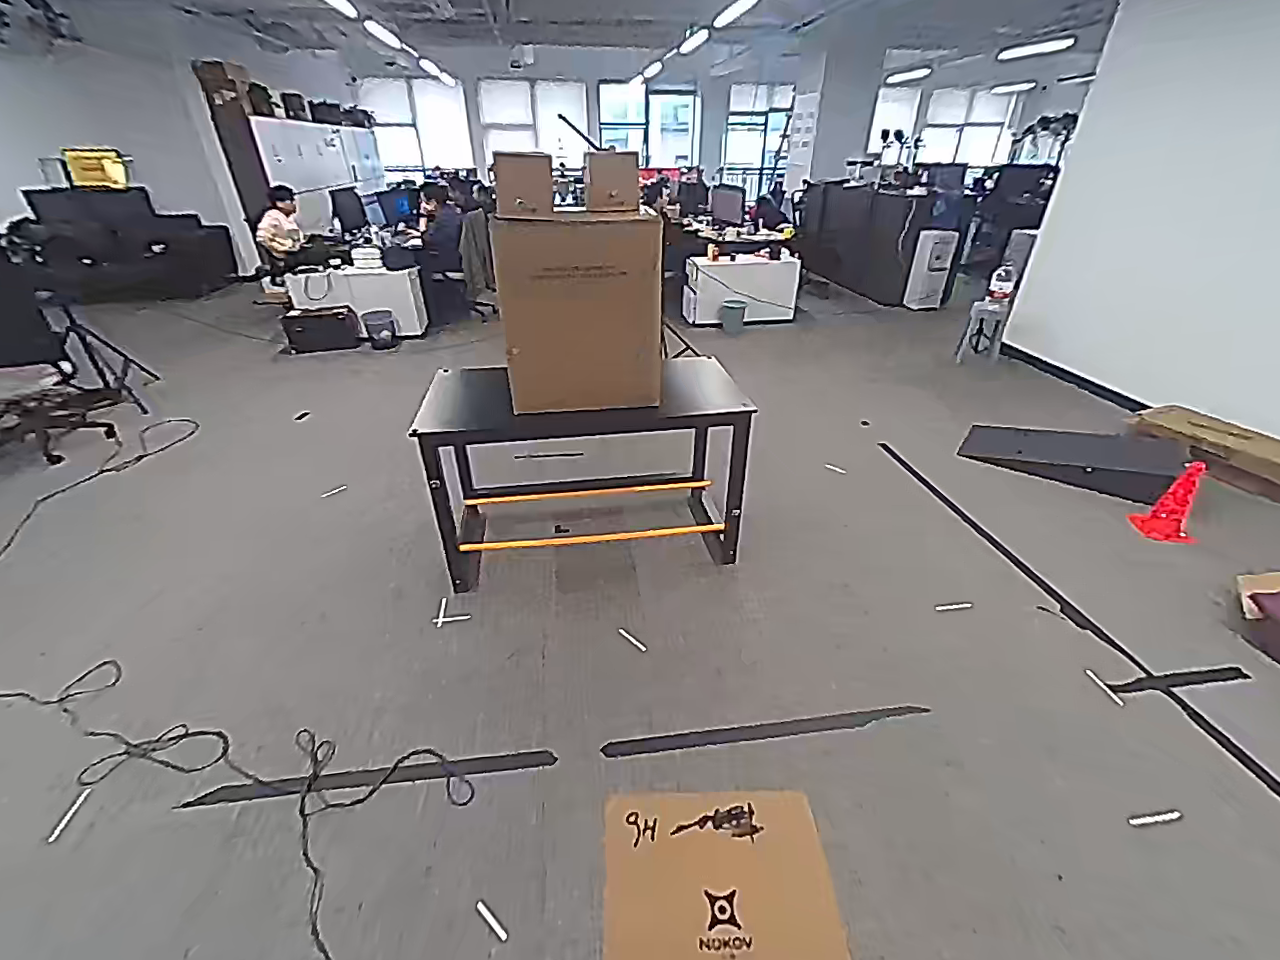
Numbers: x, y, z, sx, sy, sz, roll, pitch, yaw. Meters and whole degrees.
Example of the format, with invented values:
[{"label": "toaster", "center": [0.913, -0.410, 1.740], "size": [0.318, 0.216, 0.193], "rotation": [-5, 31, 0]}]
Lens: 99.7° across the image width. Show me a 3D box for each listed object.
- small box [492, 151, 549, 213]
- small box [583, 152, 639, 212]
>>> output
[{"label": "small box", "center": [-0.392, -0.984, 1.786], "size": [0.168, 0.176, 0.179], "rotation": [-5, 30, -9]}, {"label": "small box", "center": [-0.098, -0.991, 1.796], "size": [0.168, 0.176, 0.179], "rotation": [-7, 31, -9]}]
